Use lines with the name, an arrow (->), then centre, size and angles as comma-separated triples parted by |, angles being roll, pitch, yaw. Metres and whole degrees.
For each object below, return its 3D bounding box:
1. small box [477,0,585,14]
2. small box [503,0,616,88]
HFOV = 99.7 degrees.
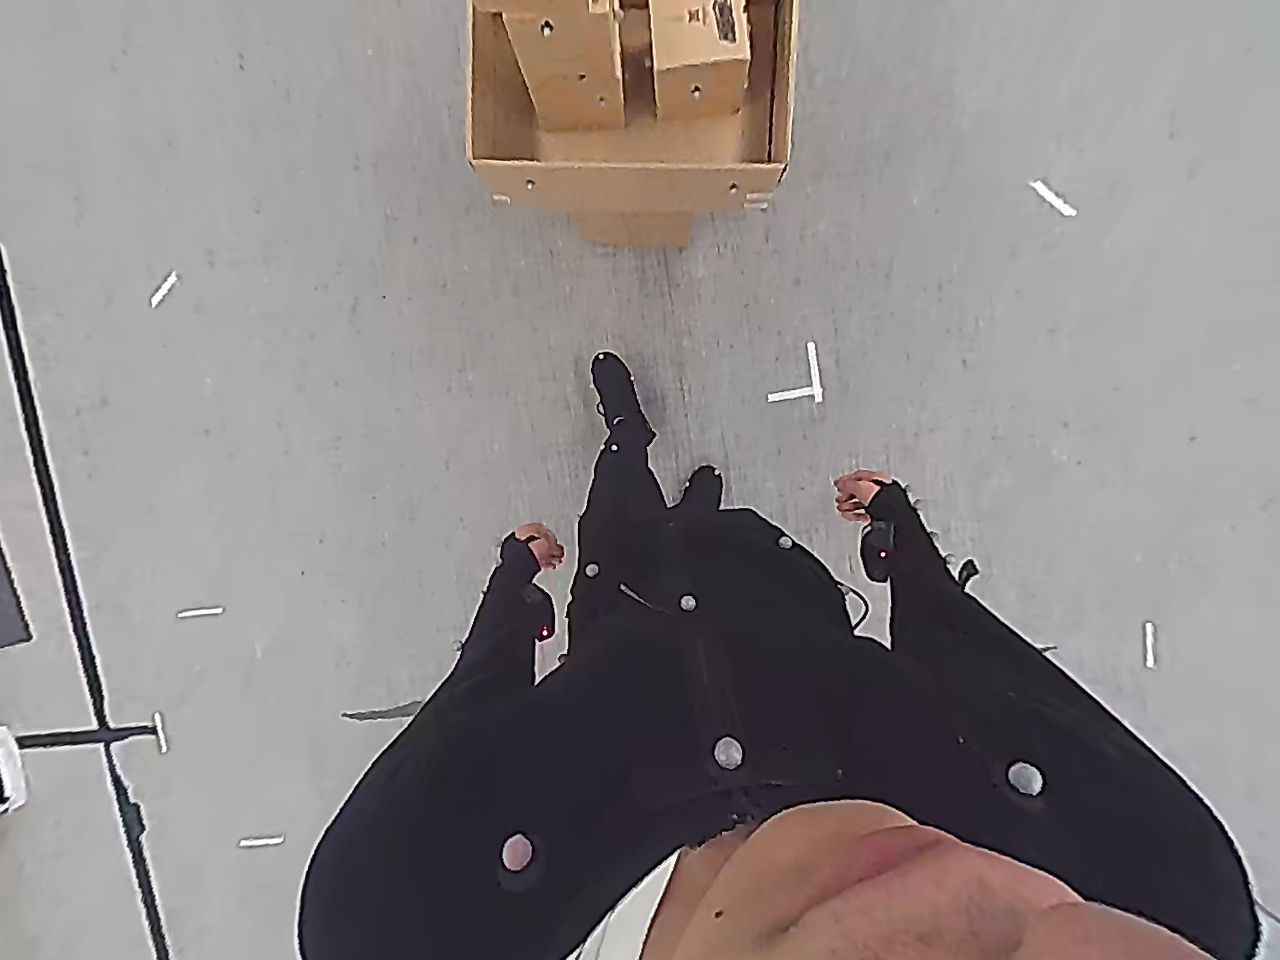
small box -> -0.157, -0.781, 0.734 | 0.179, 0.176, 0.168 | 2, 95, 1
small box -> -0.128, -0.794, 0.896 | 0.168, 0.176, 0.179 | -1, 94, 2
